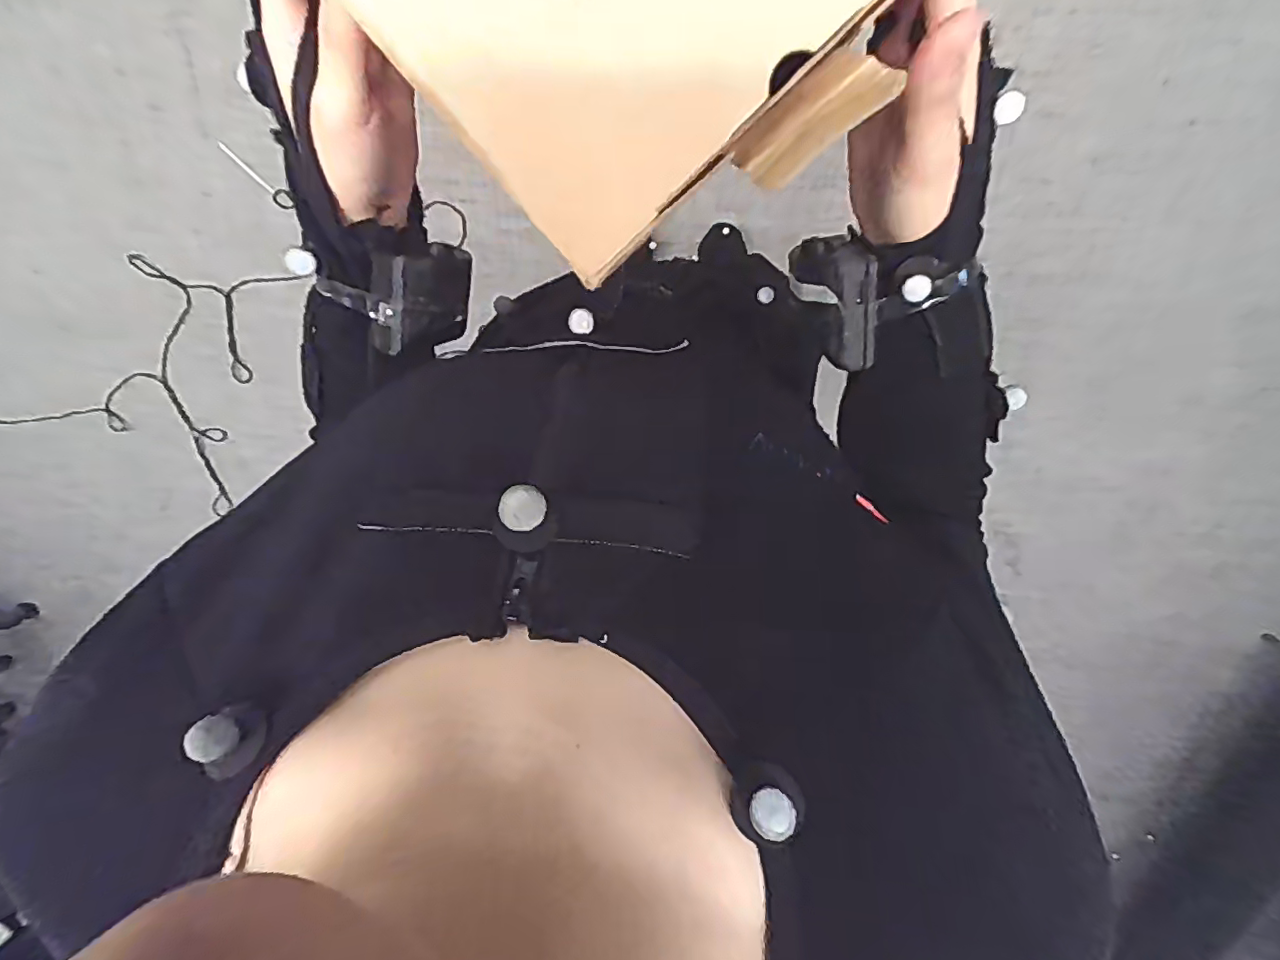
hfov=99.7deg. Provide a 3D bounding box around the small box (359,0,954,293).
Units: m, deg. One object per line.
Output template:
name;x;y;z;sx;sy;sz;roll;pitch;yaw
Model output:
small box;-0.002;-0.204;0.208;0.168;0.176;0.179;-36;109;18
